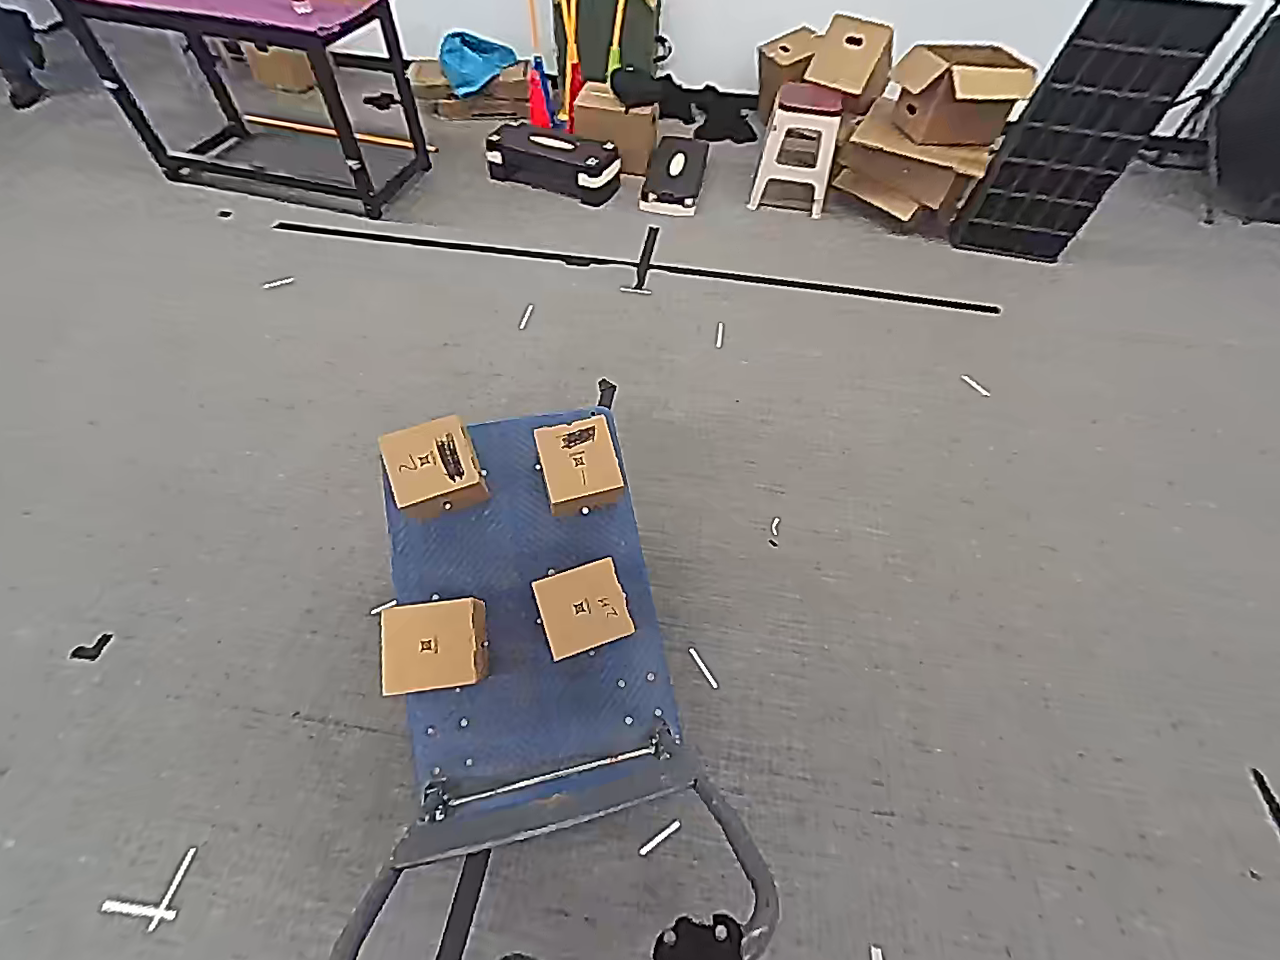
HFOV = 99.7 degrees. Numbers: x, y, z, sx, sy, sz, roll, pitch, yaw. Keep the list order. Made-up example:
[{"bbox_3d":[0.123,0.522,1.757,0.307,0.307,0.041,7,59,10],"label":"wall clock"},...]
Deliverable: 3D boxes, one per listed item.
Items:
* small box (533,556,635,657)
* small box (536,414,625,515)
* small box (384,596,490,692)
[{"bbox_3d":[-0.123,0.279,1.188,0.179,0.176,0.168,-17,78,-11],"label":"small box"},{"bbox_3d":[-0.143,-0.031,1.271,0.168,0.176,0.179,-14,78,-10],"label":"small box"},{"bbox_3d":[-0.420,0.342,1.135,0.179,0.176,0.168,-5,75,-10],"label":"small box"}]
